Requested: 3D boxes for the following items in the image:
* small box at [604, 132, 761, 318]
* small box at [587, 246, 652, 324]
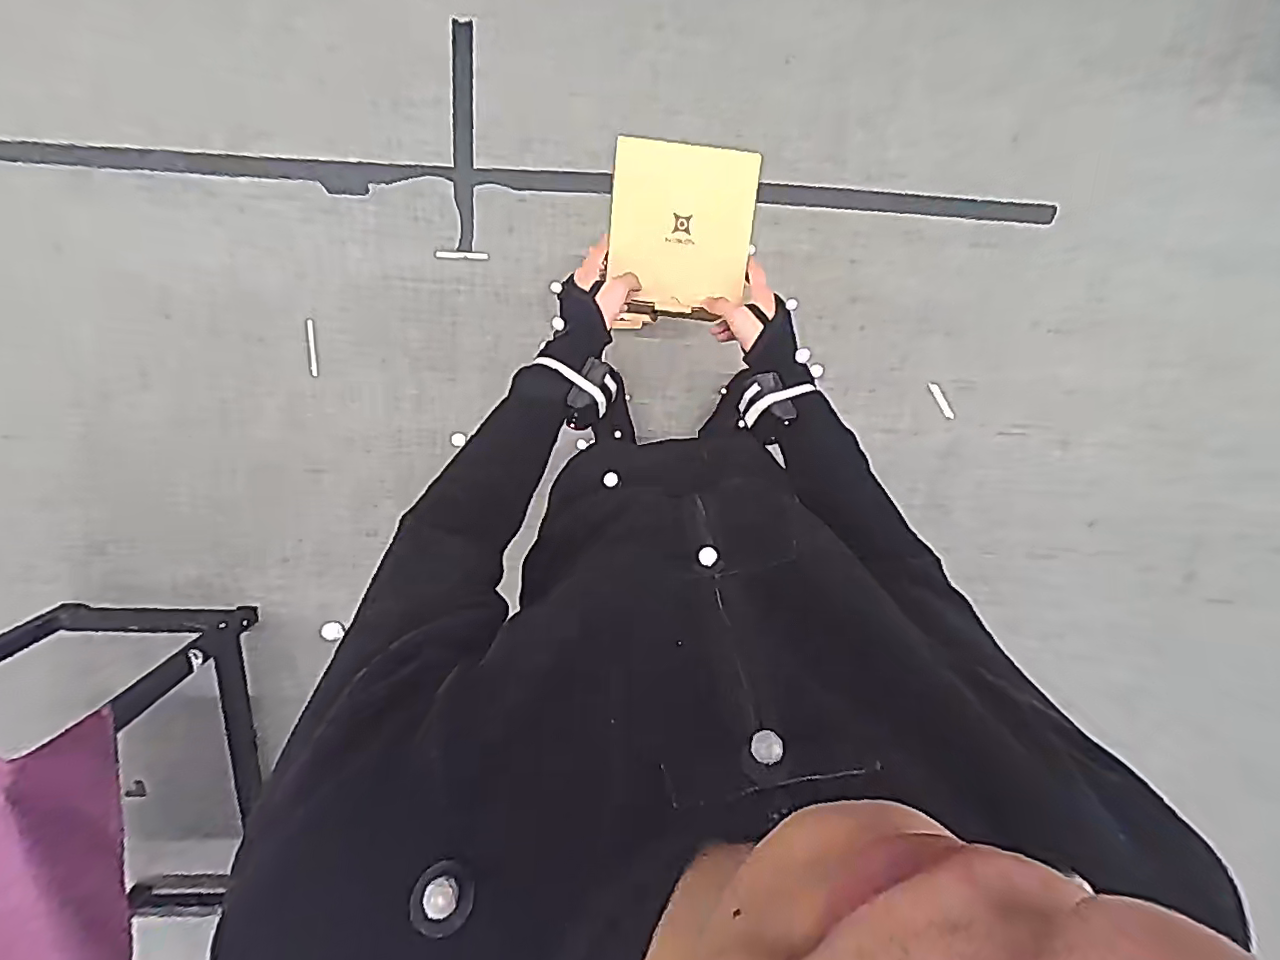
[{"bbox_3d":[0.042,-0.311,0.696,0.168,0.176,0.179,5,104,-5],"label":"small box"},{"bbox_3d":[-0.052,-0.502,1.410,0.168,0.176,0.179,1,104,-3],"label":"small box"}]
